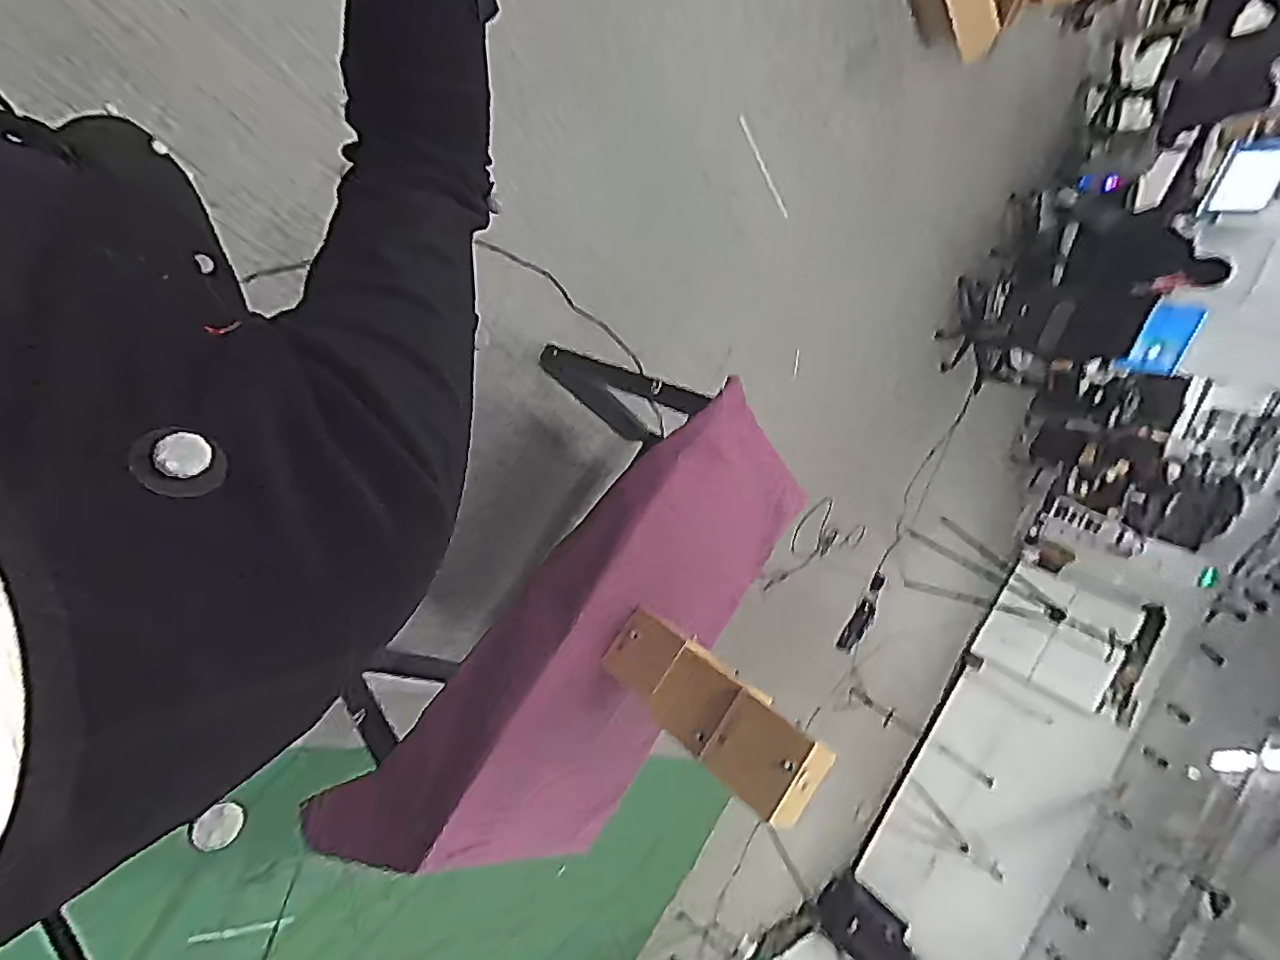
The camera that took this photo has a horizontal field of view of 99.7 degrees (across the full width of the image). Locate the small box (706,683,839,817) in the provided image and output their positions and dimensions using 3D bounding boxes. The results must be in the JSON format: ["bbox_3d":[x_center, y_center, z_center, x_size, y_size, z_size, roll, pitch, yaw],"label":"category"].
[{"bbox_3d":[0.261,0.528,1.063,0.168,0.176,0.179,-54,139,-9],"label":"small box"}]

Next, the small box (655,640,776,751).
[{"bbox_3d":[0.165,0.479,1.189,0.179,0.176,0.168,-56,138,-7],"label":"small box"}]

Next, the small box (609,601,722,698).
[{"bbox_3d":[0.061,0.415,1.295,0.168,0.176,0.179,-55,138,-9],"label":"small box"}]
